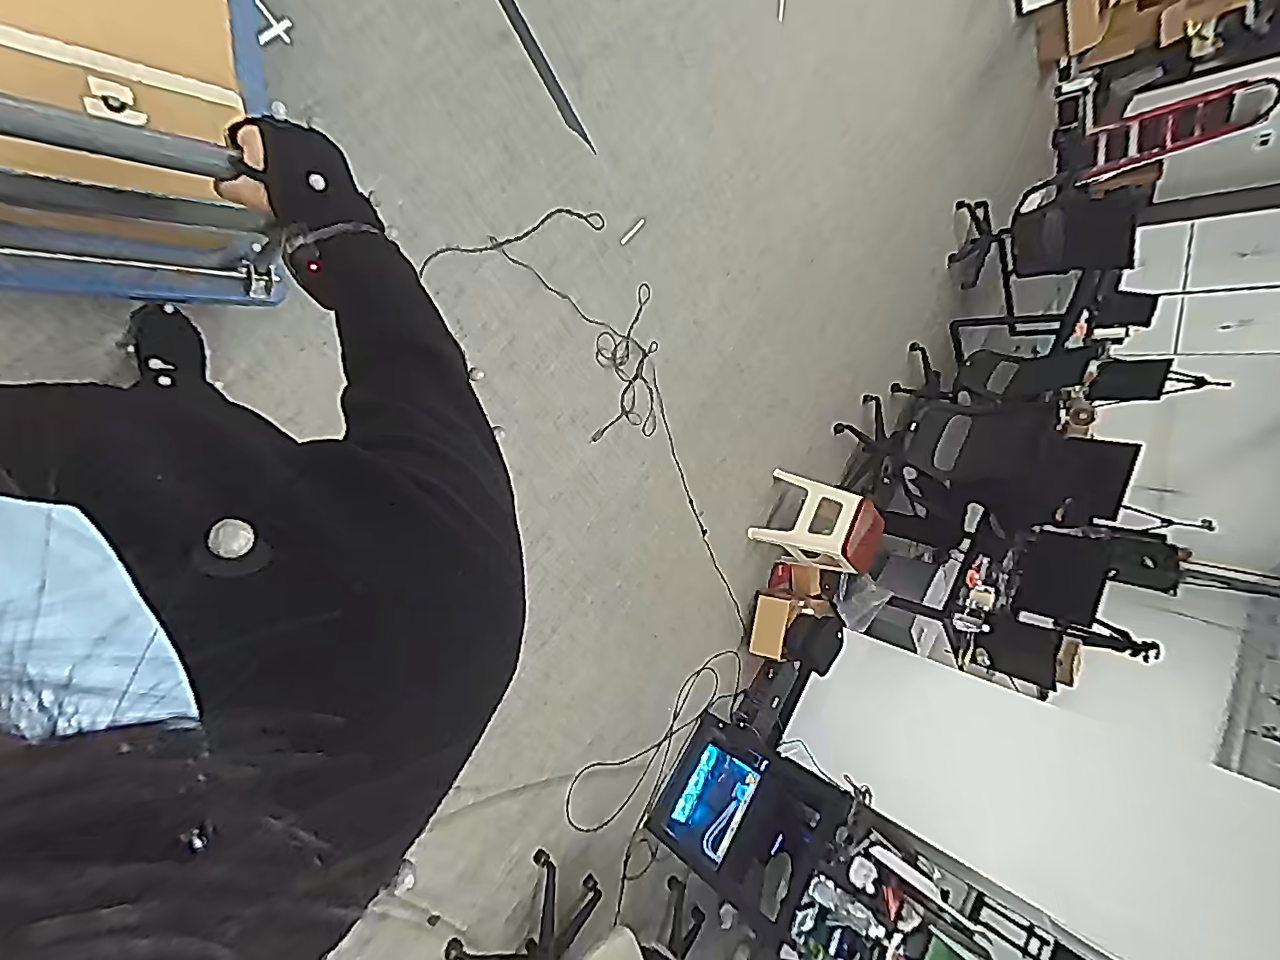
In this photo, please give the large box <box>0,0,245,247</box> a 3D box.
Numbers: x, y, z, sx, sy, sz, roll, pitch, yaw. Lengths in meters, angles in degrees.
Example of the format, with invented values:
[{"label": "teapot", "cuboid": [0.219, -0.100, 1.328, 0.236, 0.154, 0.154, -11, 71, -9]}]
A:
[{"label": "large box", "cuboid": [-0.835, -0.536, 0.748, 0.408, 0.320, 0.320, -9, 106, -43]}]
